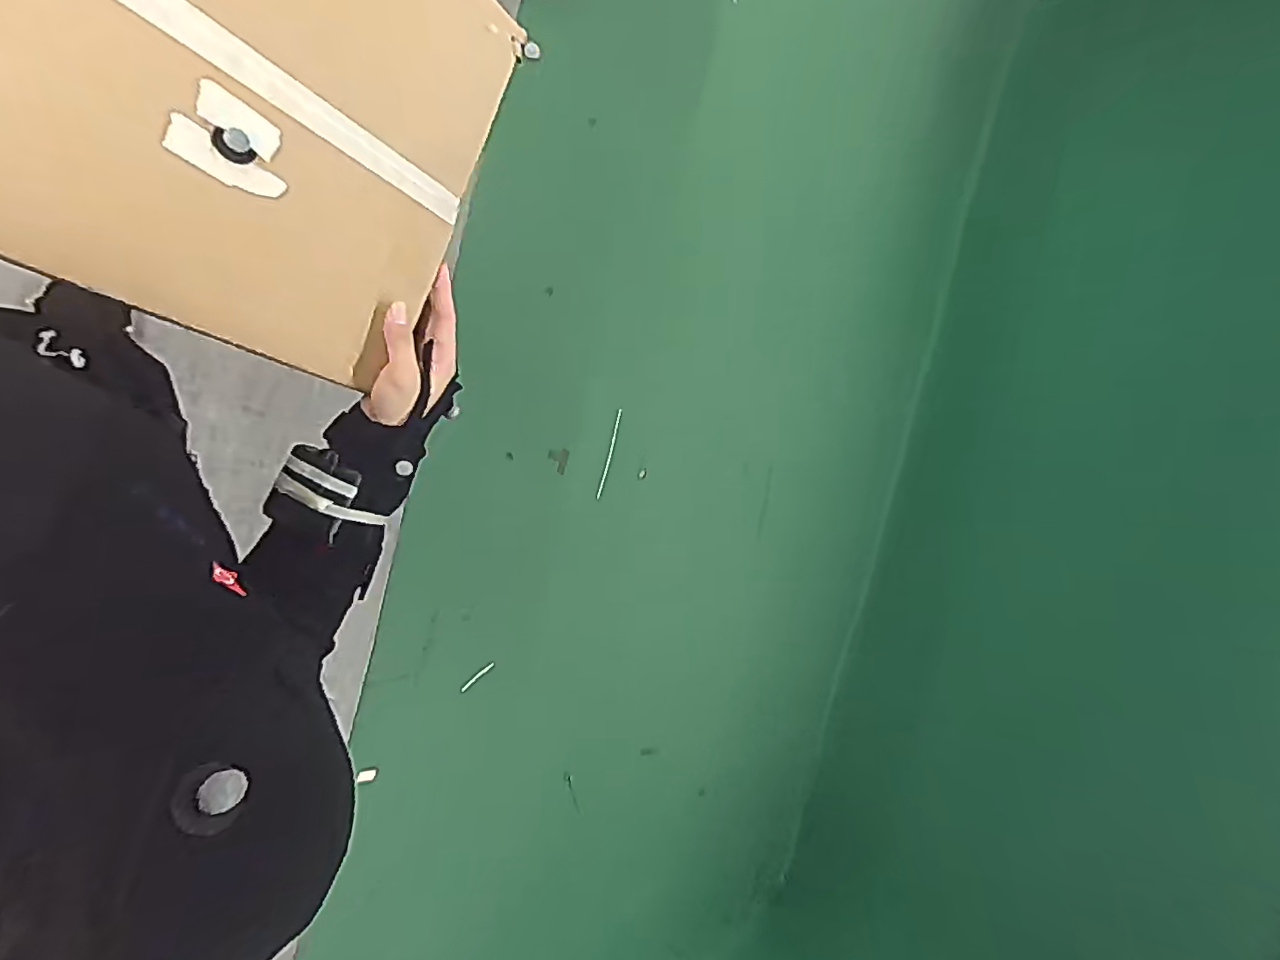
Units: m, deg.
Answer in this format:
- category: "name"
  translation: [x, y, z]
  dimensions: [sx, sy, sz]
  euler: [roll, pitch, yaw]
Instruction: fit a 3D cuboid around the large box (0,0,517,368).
- category: "large box"
  translation: [-0.377, -0.313, 0.384]
  dimensions: [0.408, 0.320, 0.320]
  euler: [22, 90, -49]
